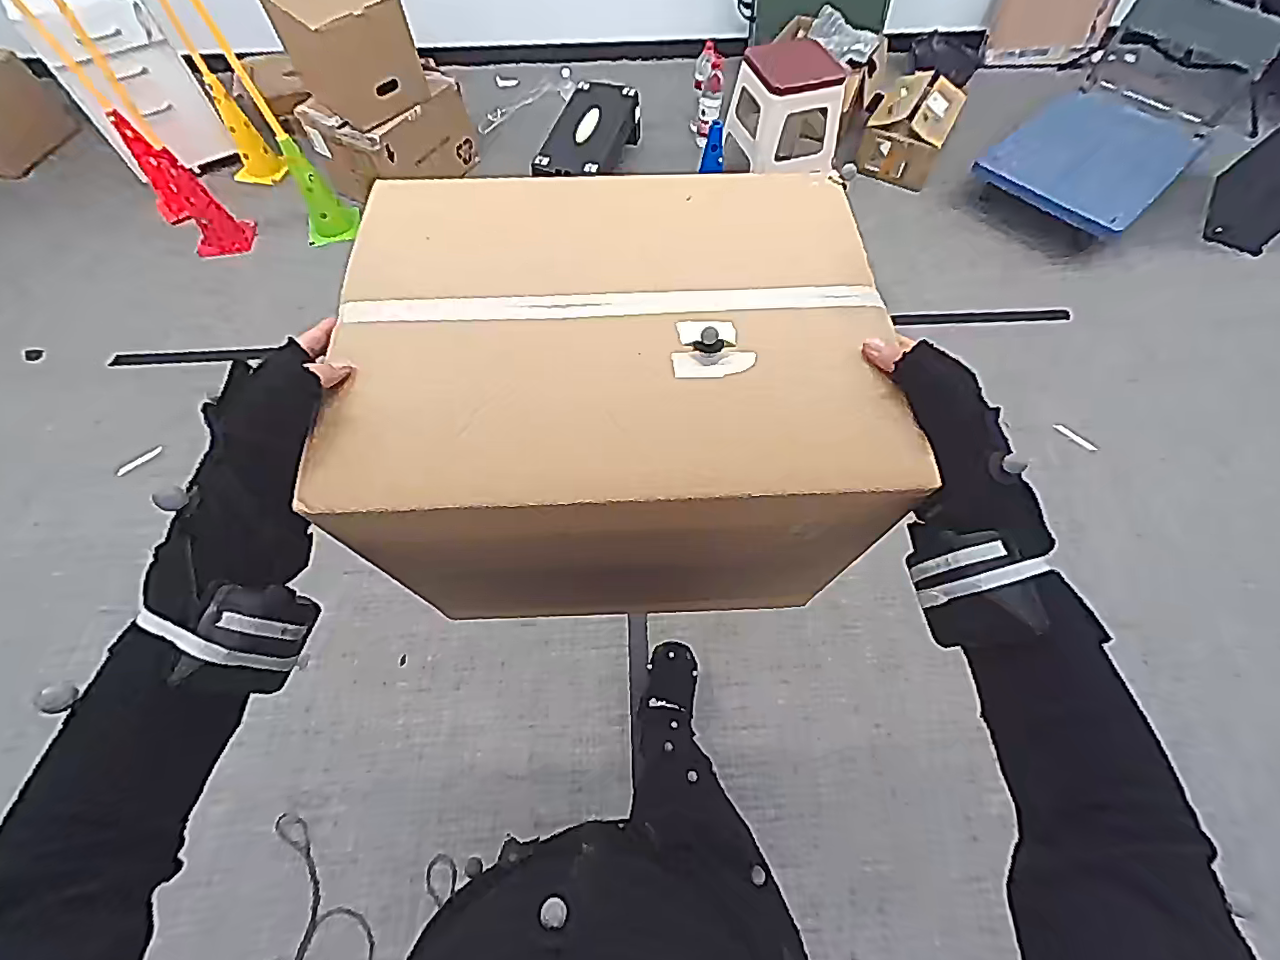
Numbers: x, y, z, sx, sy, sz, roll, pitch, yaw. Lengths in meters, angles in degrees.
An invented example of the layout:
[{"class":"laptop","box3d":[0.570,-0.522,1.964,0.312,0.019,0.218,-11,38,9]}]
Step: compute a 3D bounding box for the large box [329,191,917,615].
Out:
[{"class":"large box","box3d":[-0.018,-0.058,0.559,0.408,0.320,0.320,-2,63,-2]}]
